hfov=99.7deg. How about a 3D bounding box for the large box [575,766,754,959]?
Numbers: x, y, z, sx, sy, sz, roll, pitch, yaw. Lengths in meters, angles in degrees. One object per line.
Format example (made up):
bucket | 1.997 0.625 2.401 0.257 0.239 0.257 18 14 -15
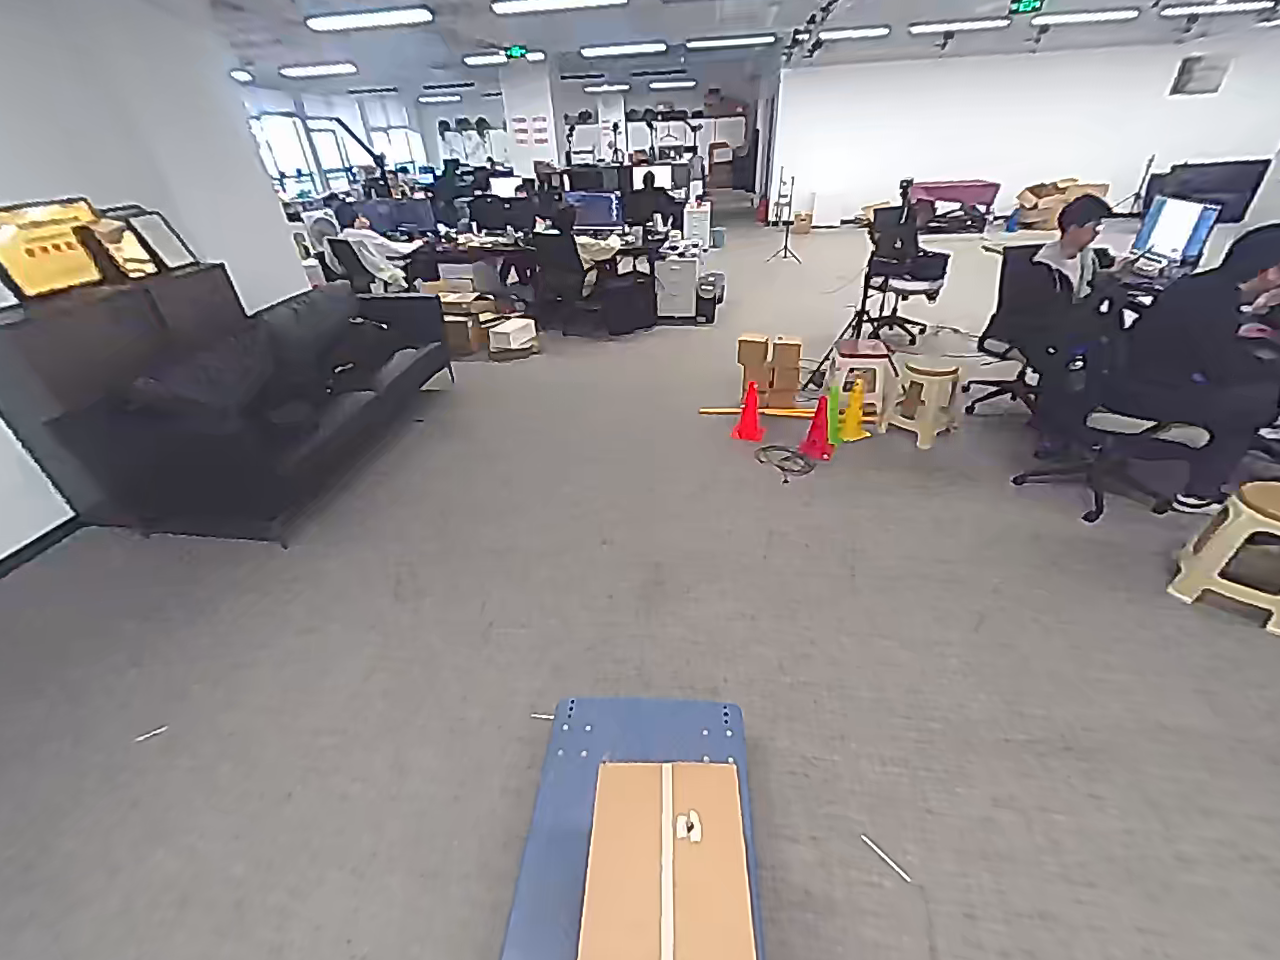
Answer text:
large box | 0.053 0.881 1.128 0.320 0.320 0.408 0 32 3
